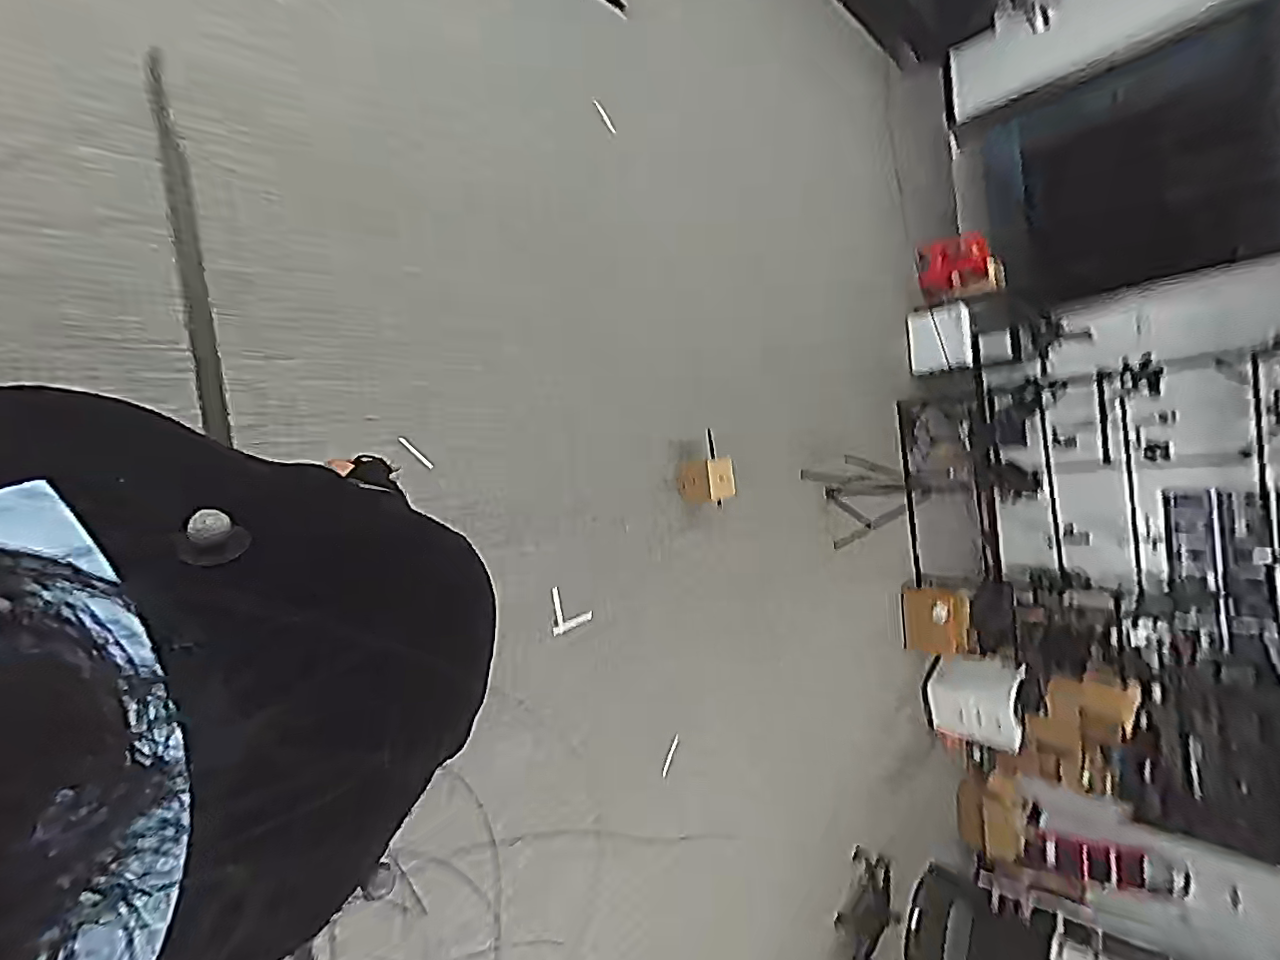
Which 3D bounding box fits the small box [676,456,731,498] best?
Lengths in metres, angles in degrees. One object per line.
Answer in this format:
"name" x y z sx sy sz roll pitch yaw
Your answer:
"small box" 0.272 -0.012 2.357 0.179 0.176 0.168 -8 93 -46
